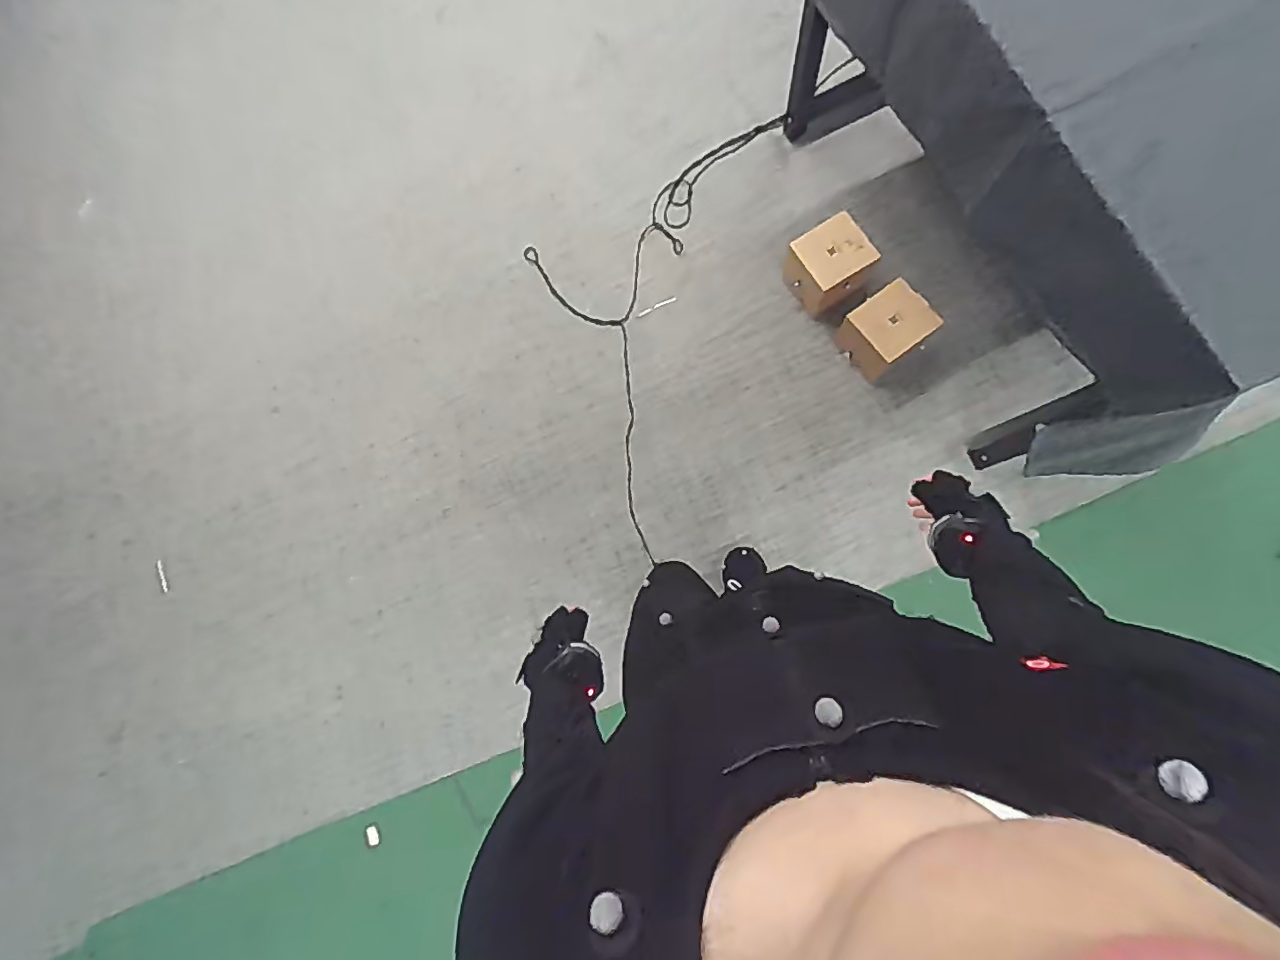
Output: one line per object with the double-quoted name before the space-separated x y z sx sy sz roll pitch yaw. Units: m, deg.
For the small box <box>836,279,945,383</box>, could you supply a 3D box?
"small box" 0.654 -0.389 1.436 0.179 0.176 0.168 -36 79 0
